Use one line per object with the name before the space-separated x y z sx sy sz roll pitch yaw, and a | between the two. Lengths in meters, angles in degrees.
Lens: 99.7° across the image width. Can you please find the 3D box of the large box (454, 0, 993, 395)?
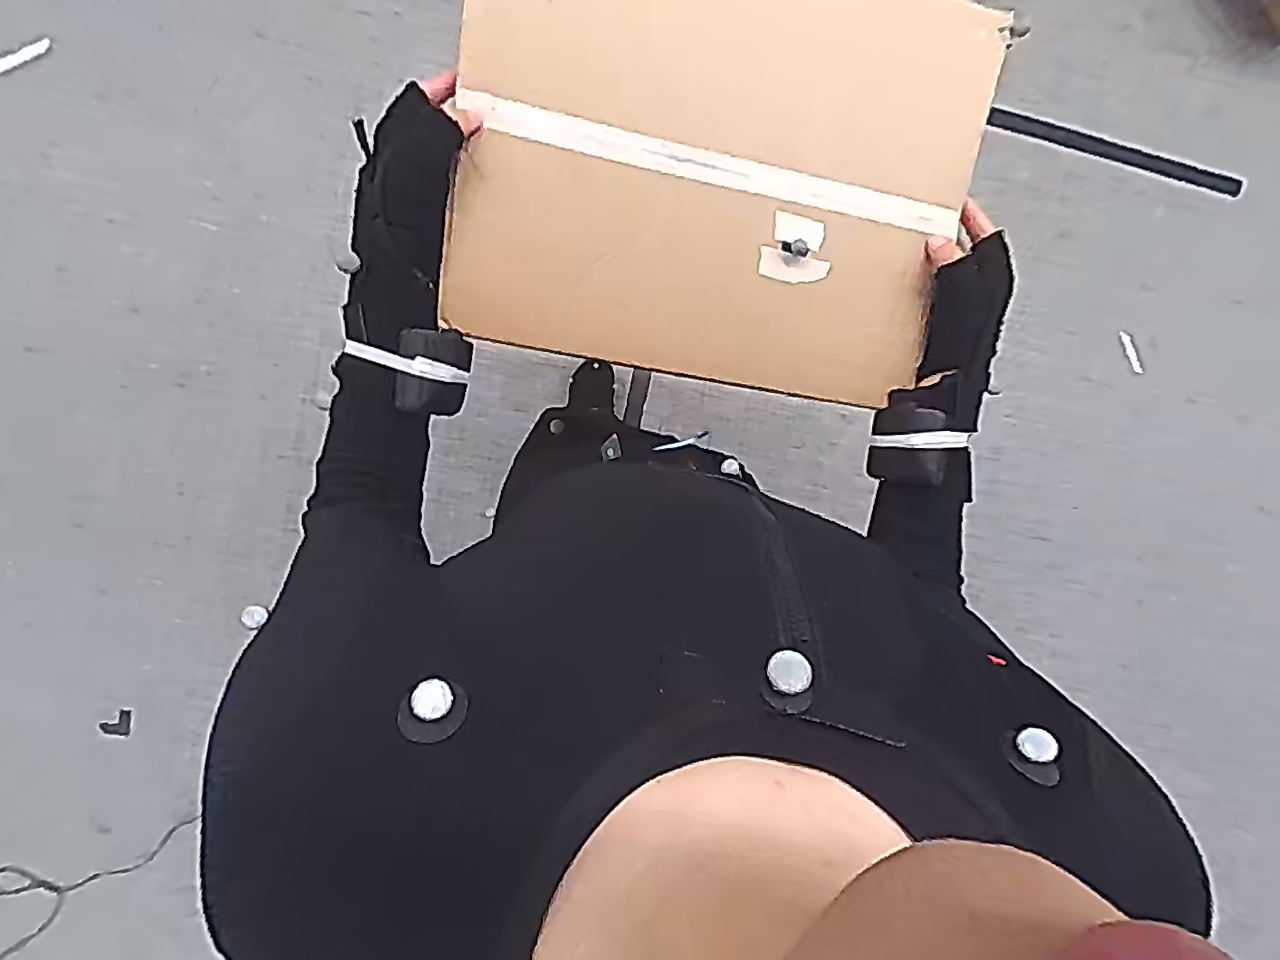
large box | 0.045 -0.283 0.573 0.408 0.320 0.320 8 103 -11
